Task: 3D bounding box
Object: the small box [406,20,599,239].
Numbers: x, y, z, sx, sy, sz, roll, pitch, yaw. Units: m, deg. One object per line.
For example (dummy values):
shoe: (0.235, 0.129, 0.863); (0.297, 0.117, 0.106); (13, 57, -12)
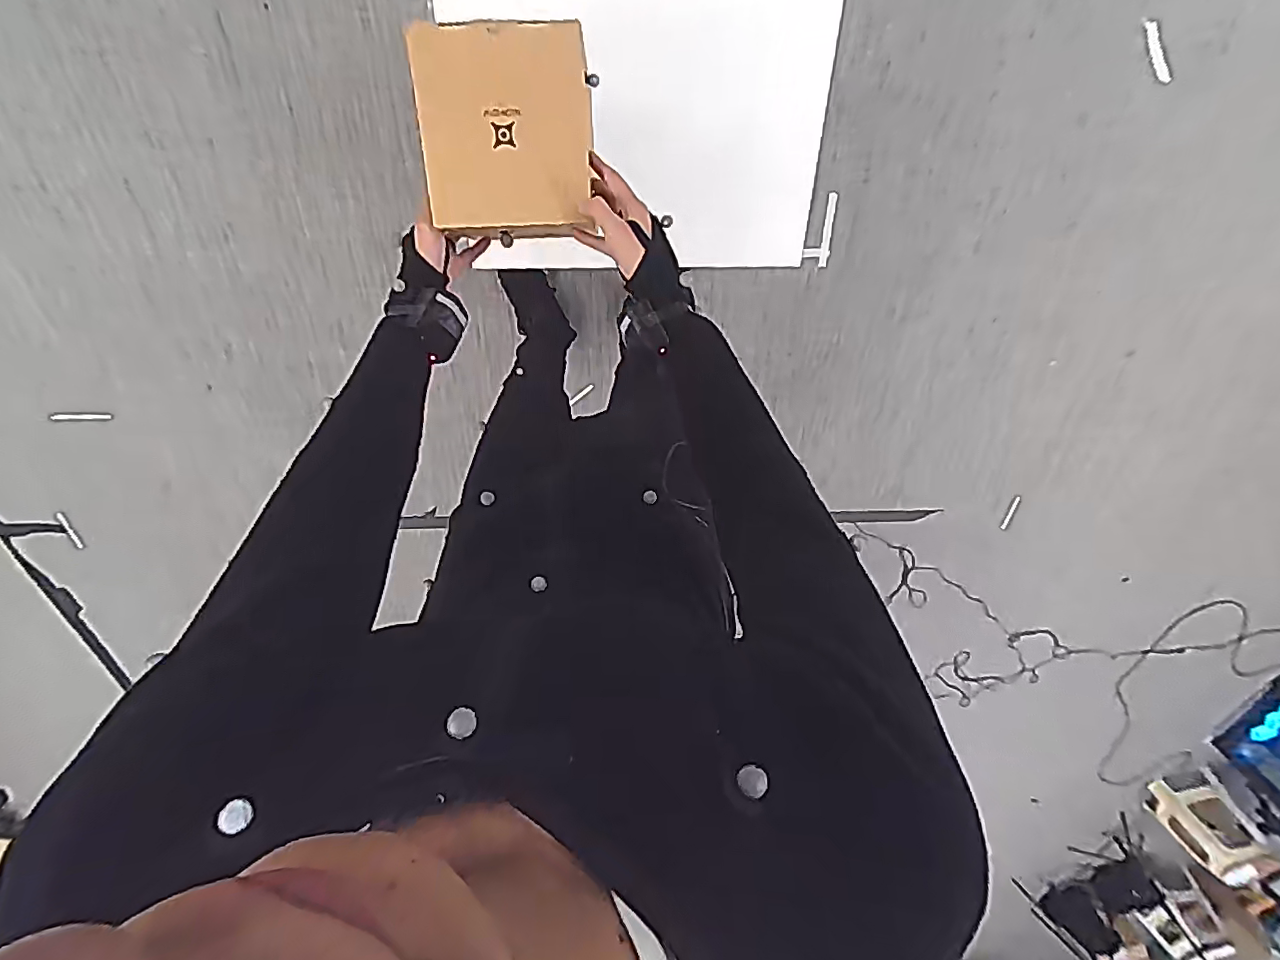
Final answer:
small box: (-0.135, -0.369, 0.605); (0.168, 0.176, 0.179); (-3, 109, -1)
